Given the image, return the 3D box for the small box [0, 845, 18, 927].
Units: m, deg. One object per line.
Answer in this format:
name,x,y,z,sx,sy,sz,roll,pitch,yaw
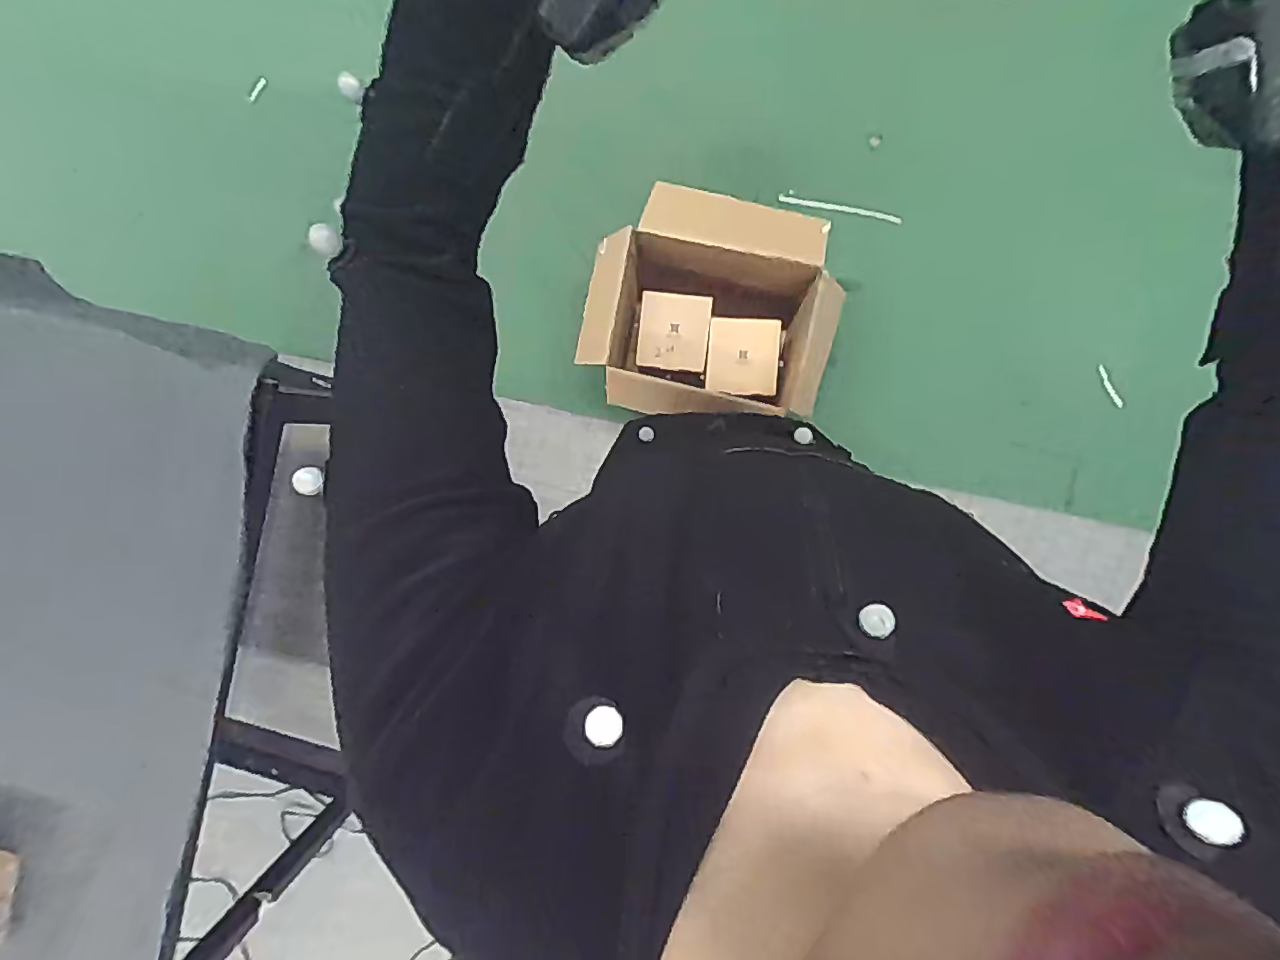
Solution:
small box,-1.116,0.662,0.813,0.179,0.176,0.168,16,95,4
